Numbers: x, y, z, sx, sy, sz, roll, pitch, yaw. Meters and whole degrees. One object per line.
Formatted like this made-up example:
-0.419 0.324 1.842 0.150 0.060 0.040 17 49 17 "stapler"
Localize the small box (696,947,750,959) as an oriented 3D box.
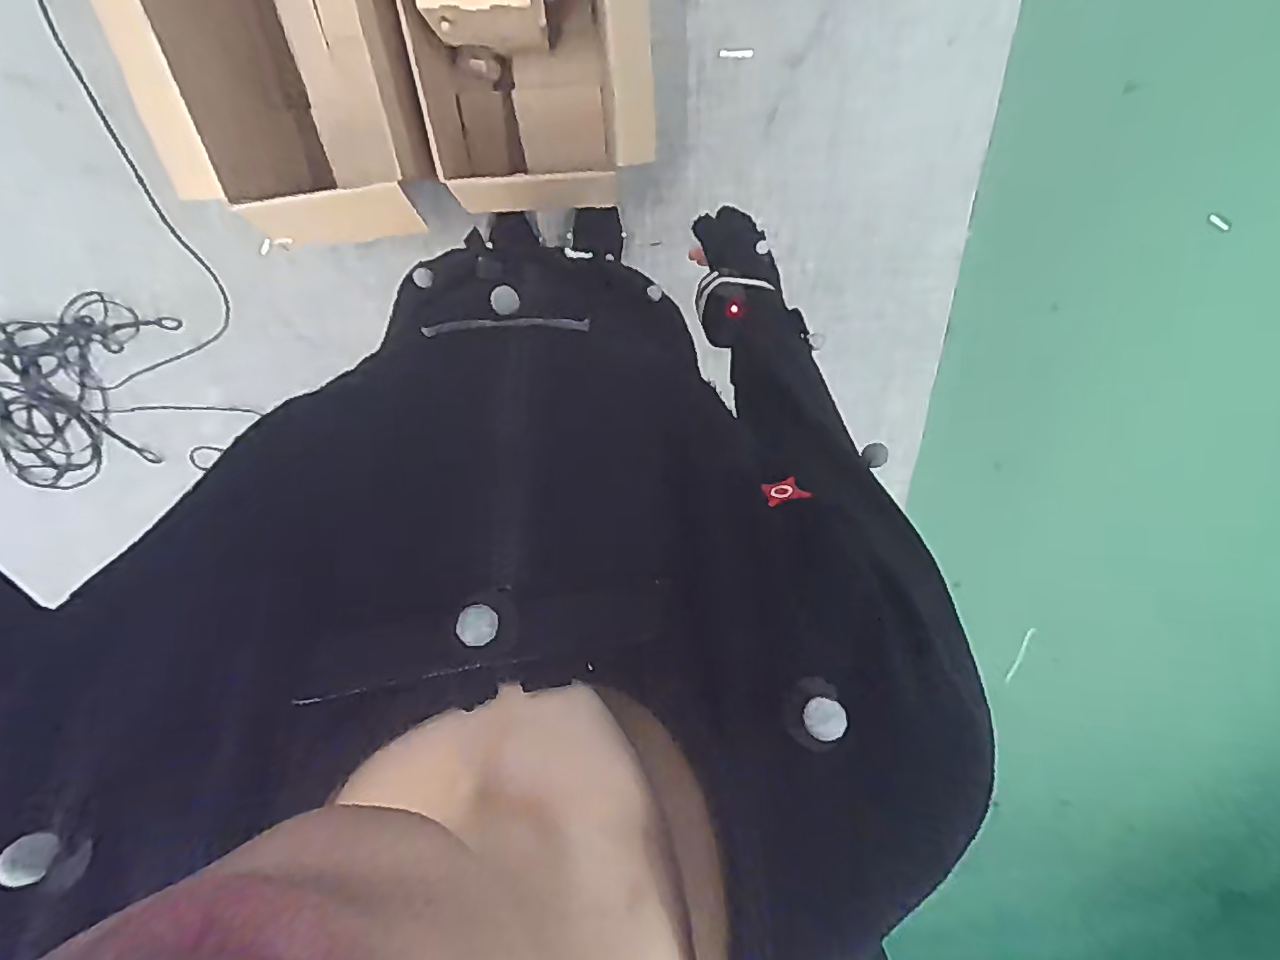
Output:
0.258 1.522 1.595 0.168 0.176 0.179 -6 120 -3 "small box"
